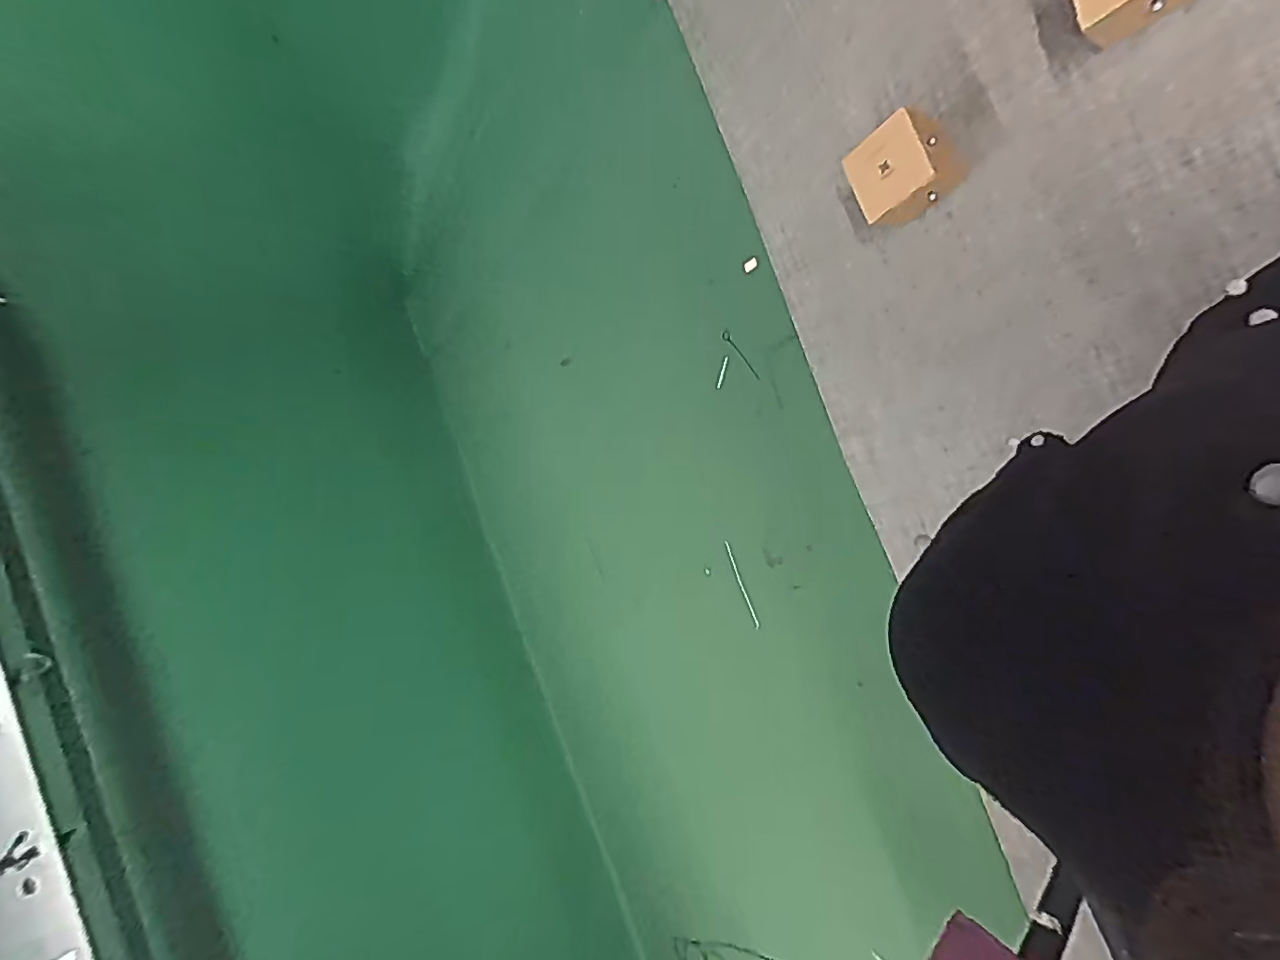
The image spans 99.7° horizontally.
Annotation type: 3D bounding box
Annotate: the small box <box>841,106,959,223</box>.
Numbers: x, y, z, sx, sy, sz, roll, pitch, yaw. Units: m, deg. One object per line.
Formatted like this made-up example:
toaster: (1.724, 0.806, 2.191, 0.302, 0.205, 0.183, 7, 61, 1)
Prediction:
small box: (0.619, -0.736, 1.280, 0.168, 0.176, 0.179, -26, 84, 52)
